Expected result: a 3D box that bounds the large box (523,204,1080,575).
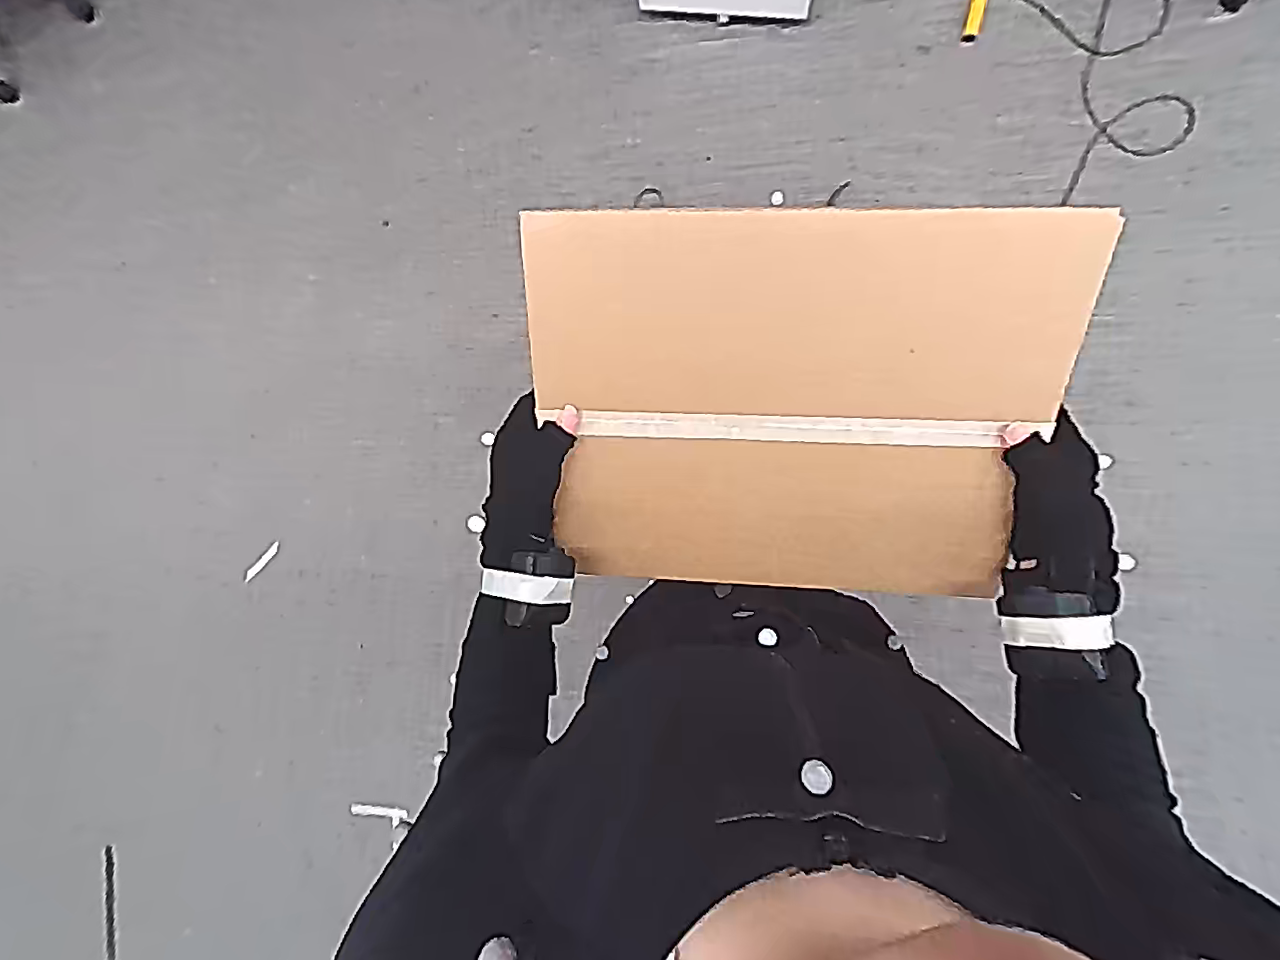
[{"bbox_3d":[0.126,-0.118,0.587,0.408,0.320,0.320,2,116,6],"label":"large box"}]
